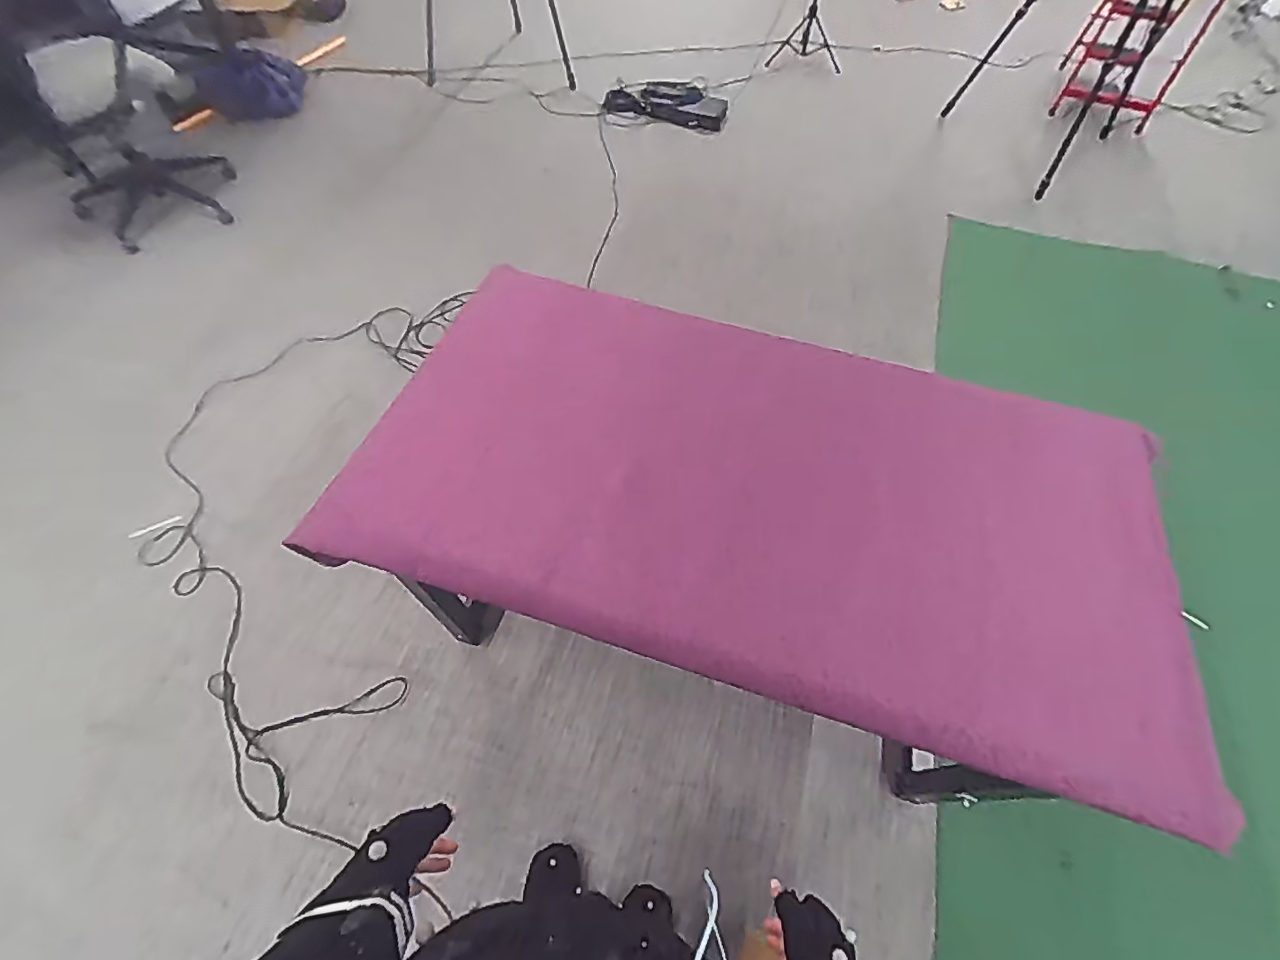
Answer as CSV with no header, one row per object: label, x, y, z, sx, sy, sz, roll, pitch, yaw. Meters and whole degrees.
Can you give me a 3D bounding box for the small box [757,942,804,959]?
small box,0.270,0.902,0.876,0.168,0.176,0.179,20,58,9
